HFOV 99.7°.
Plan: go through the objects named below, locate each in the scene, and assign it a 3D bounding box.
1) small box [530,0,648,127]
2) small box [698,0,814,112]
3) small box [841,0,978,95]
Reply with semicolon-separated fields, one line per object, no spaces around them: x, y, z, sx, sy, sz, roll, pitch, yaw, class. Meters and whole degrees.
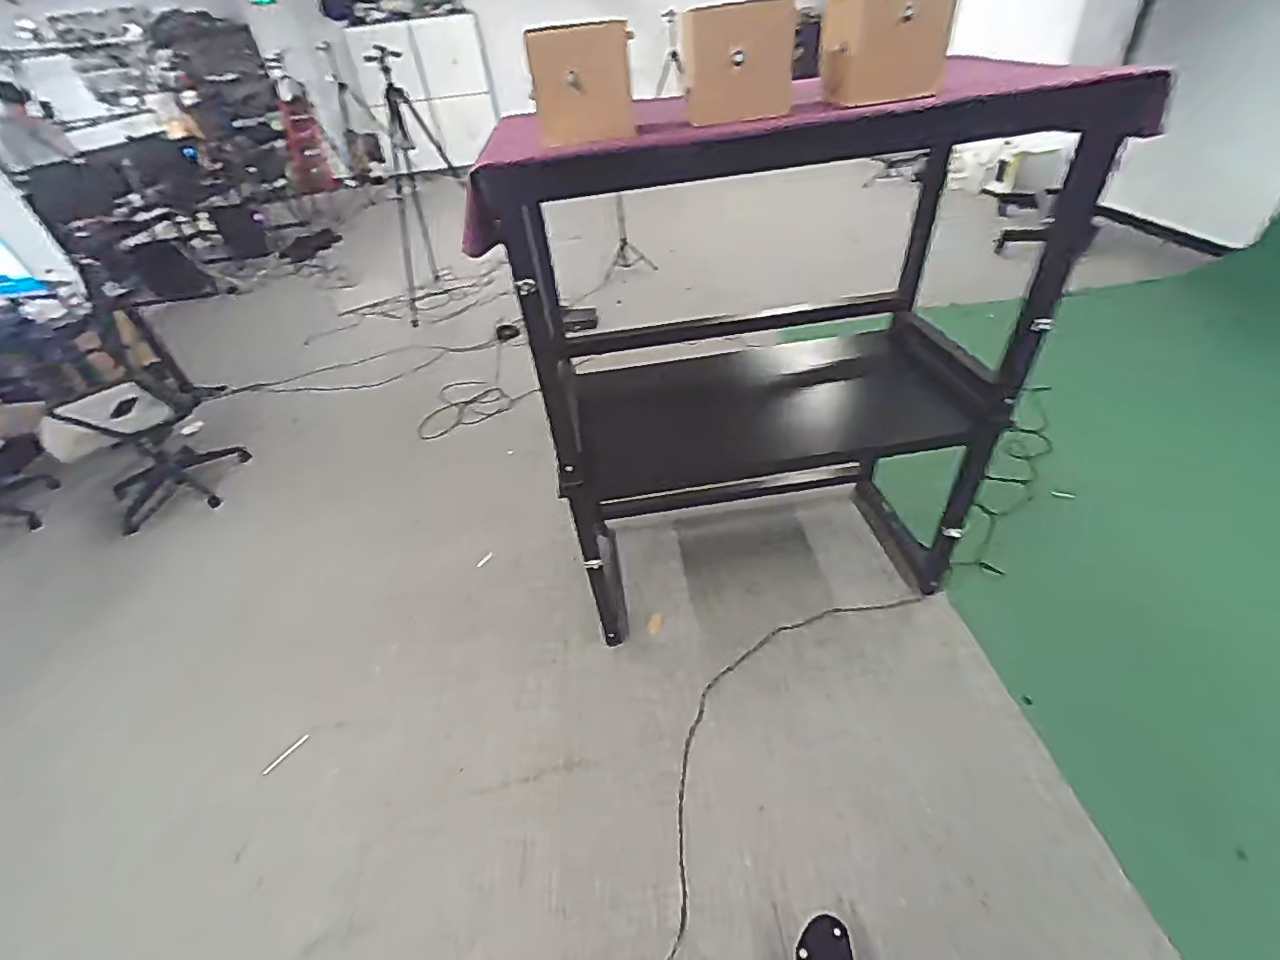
-0.083;-0.739;0.956;0.179;0.176;0.168;-5;42;1;small box
0.196;-0.773;0.963;0.179;0.176;0.168;-4;40;3;small box
0.471;-0.798;0.959;0.179;0.176;0.168;-6;41;0;small box
